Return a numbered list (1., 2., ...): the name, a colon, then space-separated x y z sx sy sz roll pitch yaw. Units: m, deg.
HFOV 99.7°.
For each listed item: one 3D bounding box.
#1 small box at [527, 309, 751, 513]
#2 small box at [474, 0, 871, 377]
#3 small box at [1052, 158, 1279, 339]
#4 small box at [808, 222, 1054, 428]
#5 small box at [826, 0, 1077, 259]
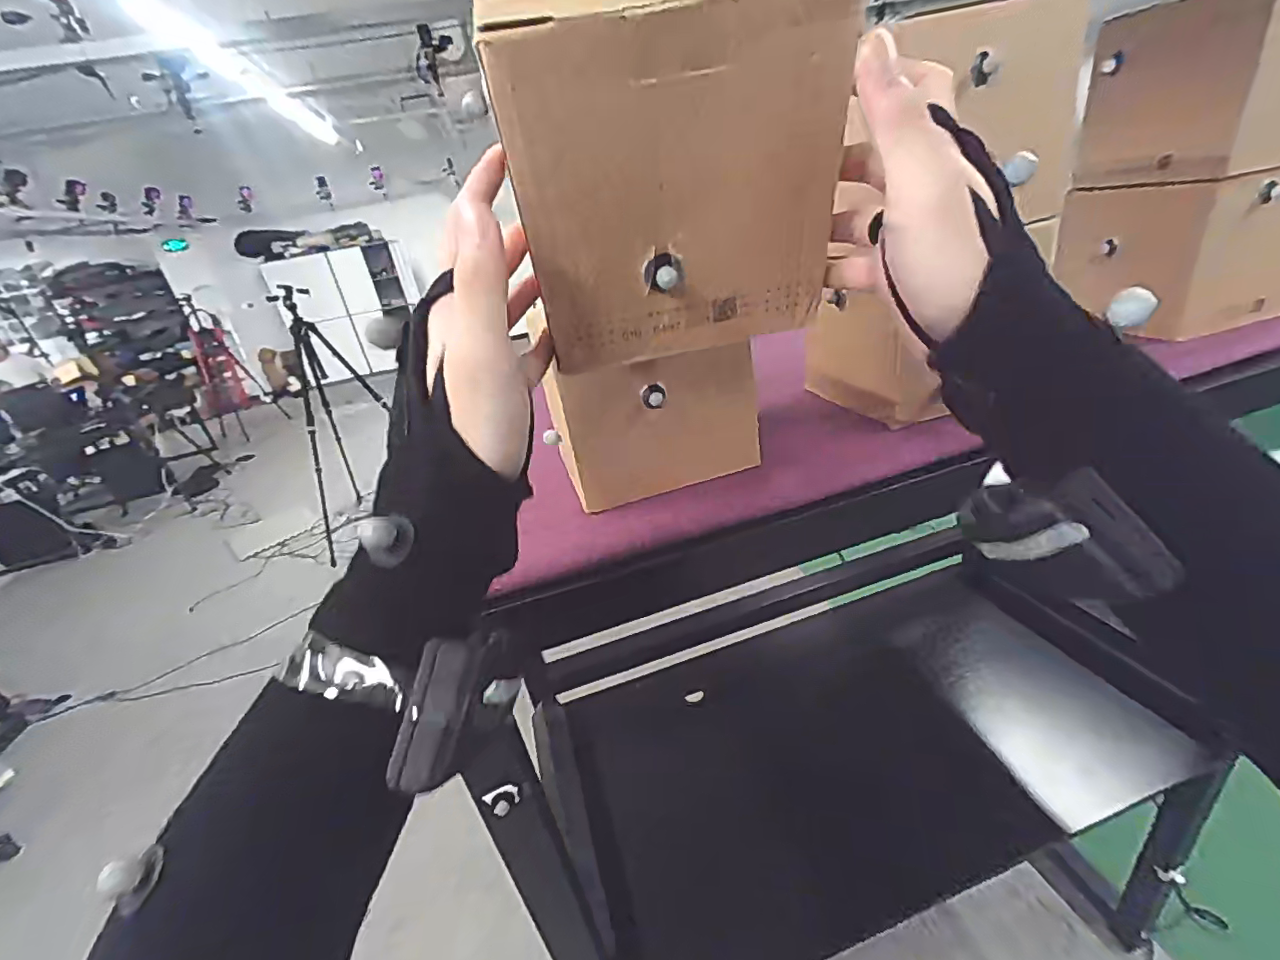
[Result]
1. small box: 0.000 -0.090 0.536 0.179 0.176 0.168 -17 26 -9
2. small box: 0.007 -0.189 0.329 0.168 0.176 0.179 -13 48 -4
3. small box: 0.650 -0.278 0.658 0.168 0.176 0.179 -15 26 -6
4. small box: 0.292 -0.170 0.587 0.168 0.176 0.179 -16 26 -7
5. small box: 0.261 -0.313 0.511 0.179 0.176 0.168 -16 26 -8
